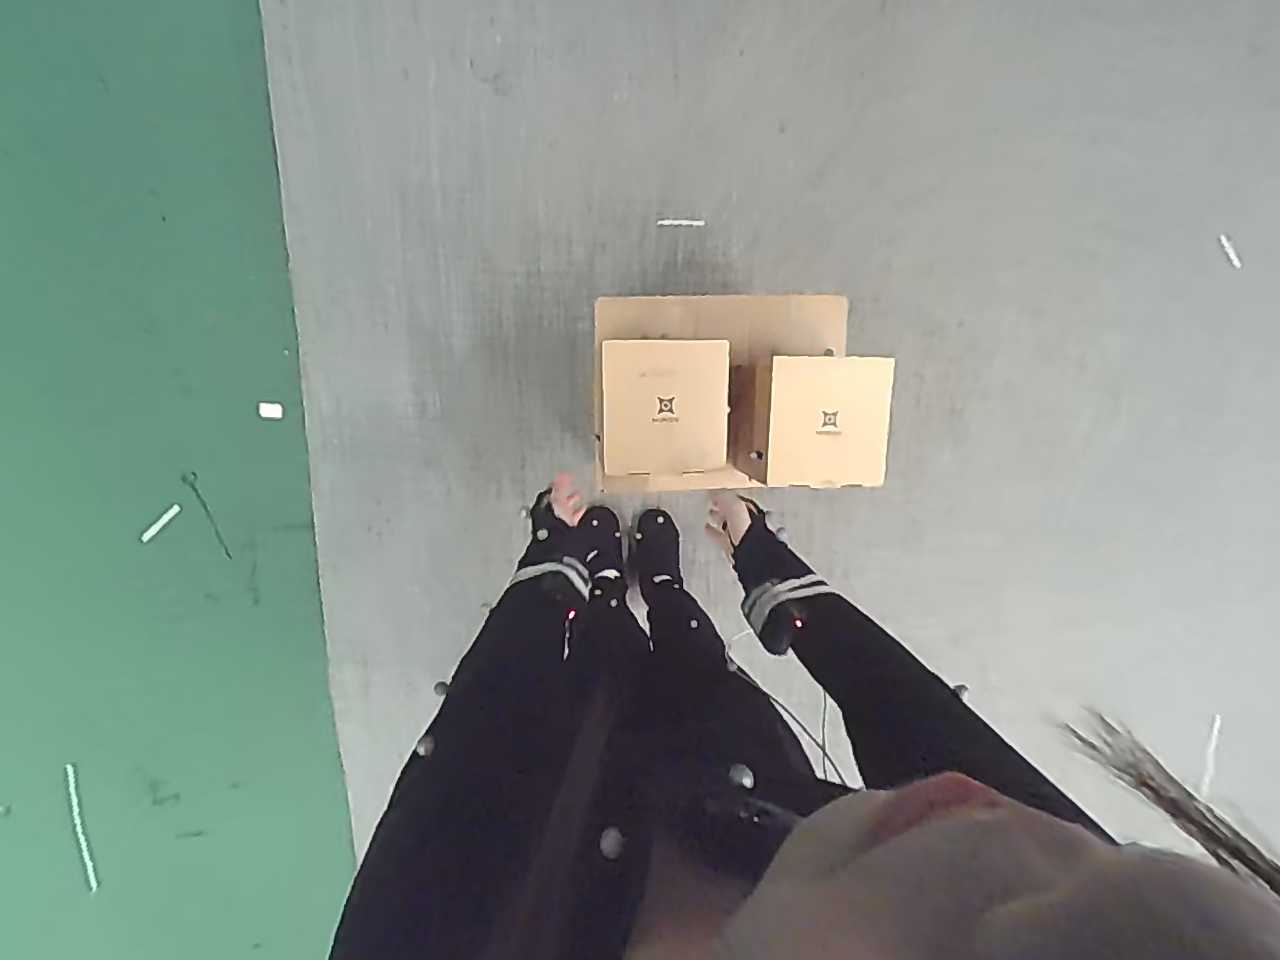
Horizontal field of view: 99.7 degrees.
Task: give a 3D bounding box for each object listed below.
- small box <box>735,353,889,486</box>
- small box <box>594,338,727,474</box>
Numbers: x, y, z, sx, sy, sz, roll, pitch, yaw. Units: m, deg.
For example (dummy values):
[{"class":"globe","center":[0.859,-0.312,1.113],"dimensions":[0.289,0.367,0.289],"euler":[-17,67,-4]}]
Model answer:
[{"class":"small box","center":[0.242,-0.092,0.801],"dimensions":[0.168,0.176,0.179],"euler":[0,100,-4]},{"class":"small box","center":[0.021,-0.110,0.778],"dimensions":[0.168,0.176,0.179],"euler":[-1,101,-8]}]
